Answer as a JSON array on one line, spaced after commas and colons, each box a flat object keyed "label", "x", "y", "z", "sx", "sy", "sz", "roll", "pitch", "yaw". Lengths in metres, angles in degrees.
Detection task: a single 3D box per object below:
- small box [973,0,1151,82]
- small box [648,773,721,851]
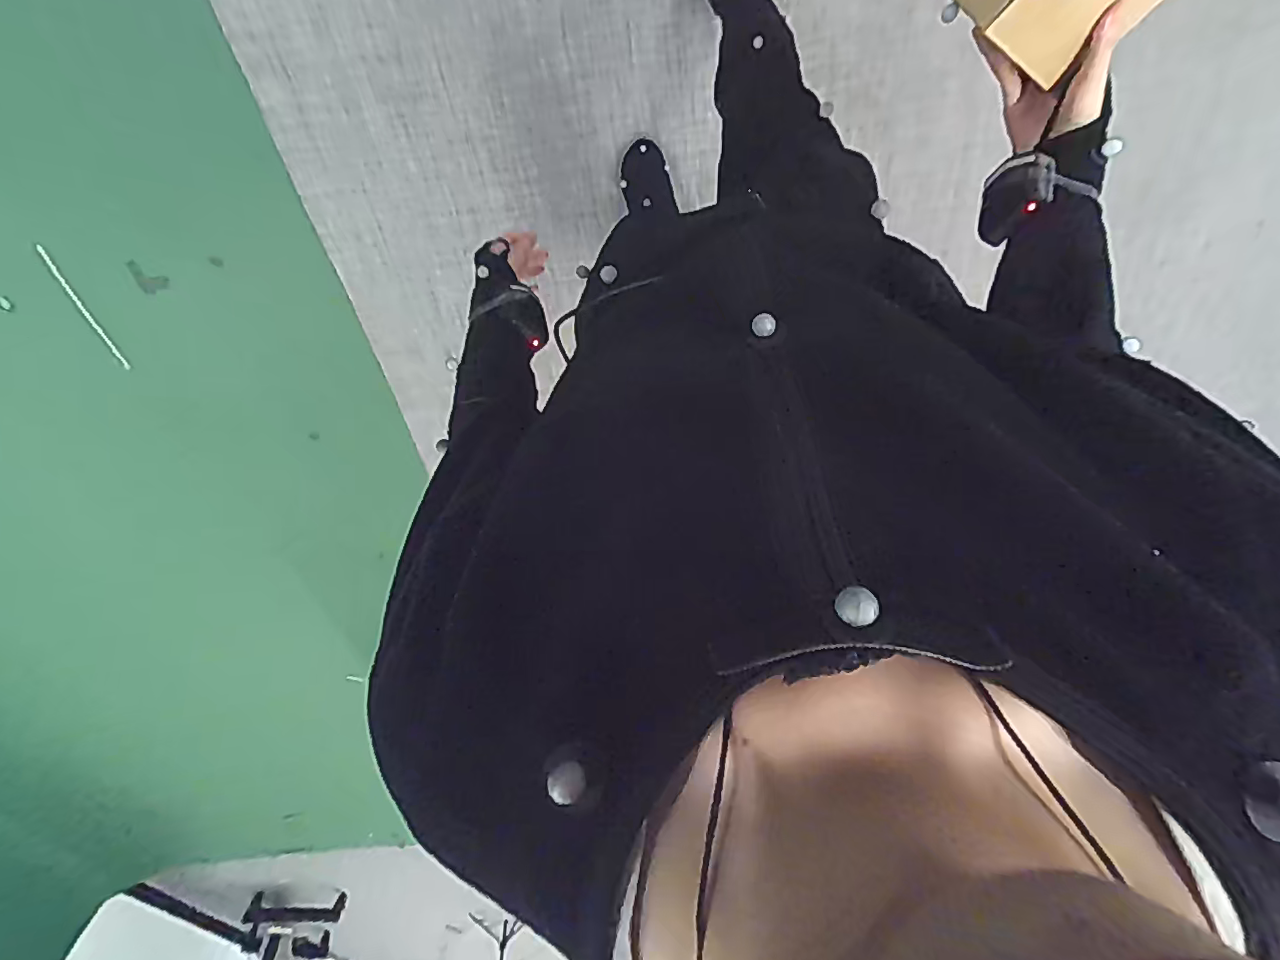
[{"label": "small box", "x": 0.320, "y": -0.453, "z": 0.392, "sx": 0.168, "sy": 0.176, "sz": 0.179, "roll": -9, "pitch": 157, "yaw": -38}, {"label": "small box", "x": 0.114, "y": 0.869, "z": 1.387, "sx": 0.168, "sy": 0.176, "sz": 0.179, "roll": -8, "pitch": 129, "yaw": 3}]
